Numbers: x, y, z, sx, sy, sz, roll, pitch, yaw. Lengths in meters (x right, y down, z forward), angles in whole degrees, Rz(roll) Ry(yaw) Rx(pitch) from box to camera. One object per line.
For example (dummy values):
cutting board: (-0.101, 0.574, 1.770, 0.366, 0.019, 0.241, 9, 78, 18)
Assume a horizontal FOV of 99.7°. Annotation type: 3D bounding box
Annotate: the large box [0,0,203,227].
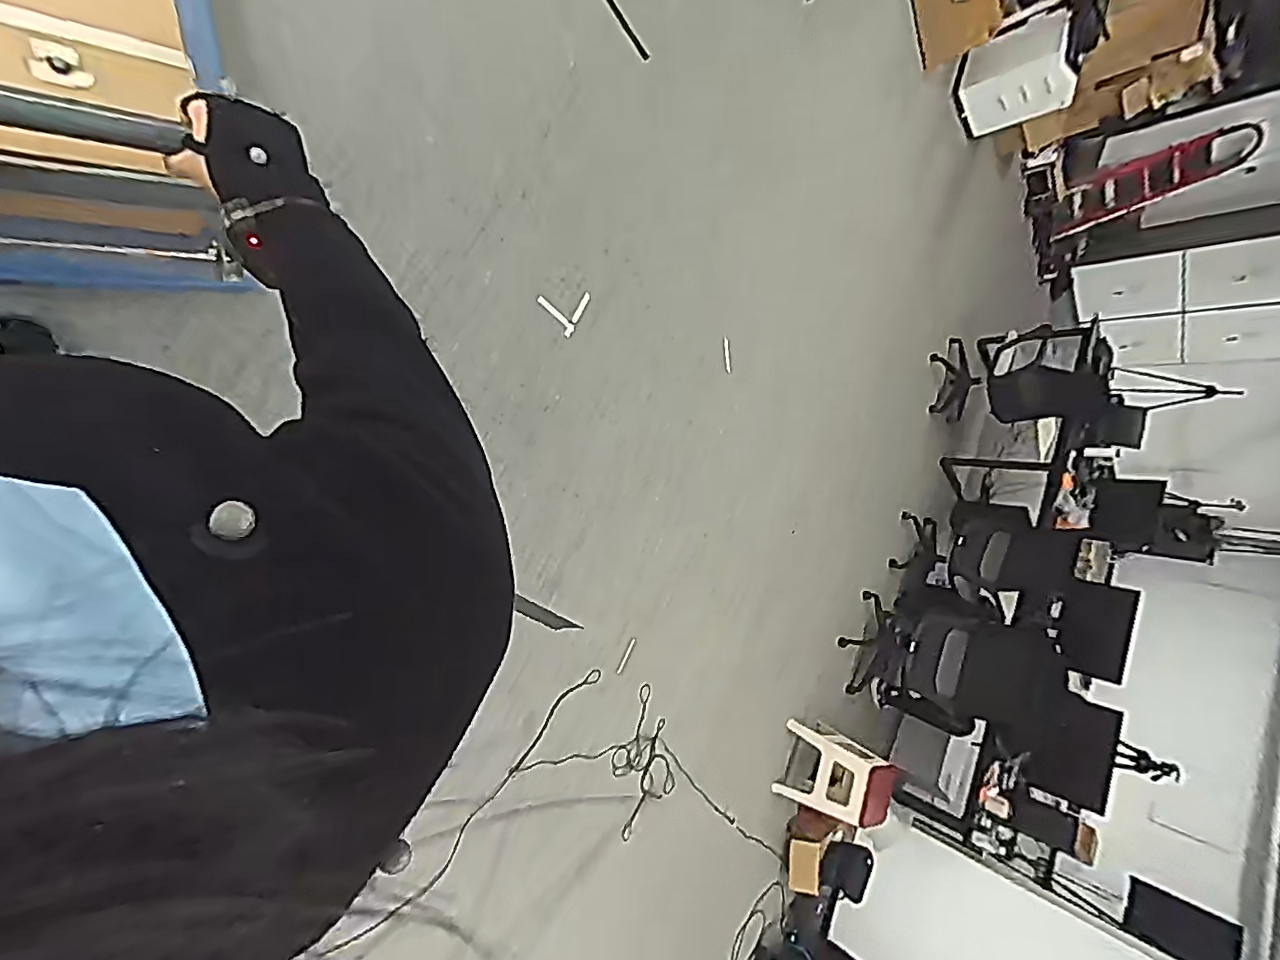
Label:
large box: (-0.898, -0.568, 0.739, 0.408, 0.320, 0.320, -14, 105, -43)
